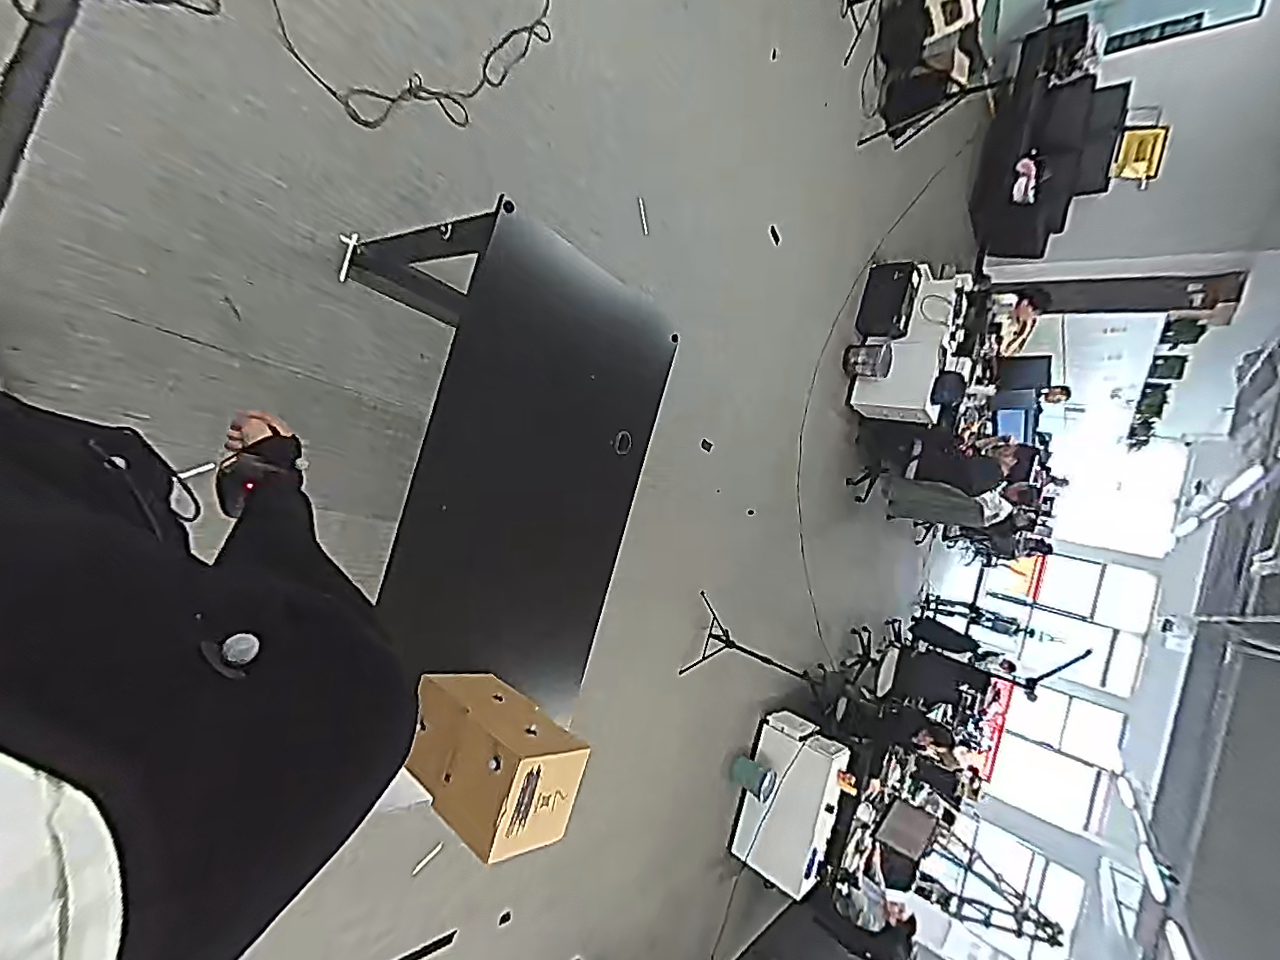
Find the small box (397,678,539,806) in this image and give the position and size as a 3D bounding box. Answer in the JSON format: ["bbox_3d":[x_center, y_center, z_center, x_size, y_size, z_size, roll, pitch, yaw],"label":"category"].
[{"bbox_3d":[-0.337,0.502,1.065,0.179,0.176,0.168,26,79,-50],"label":"small box"}]
